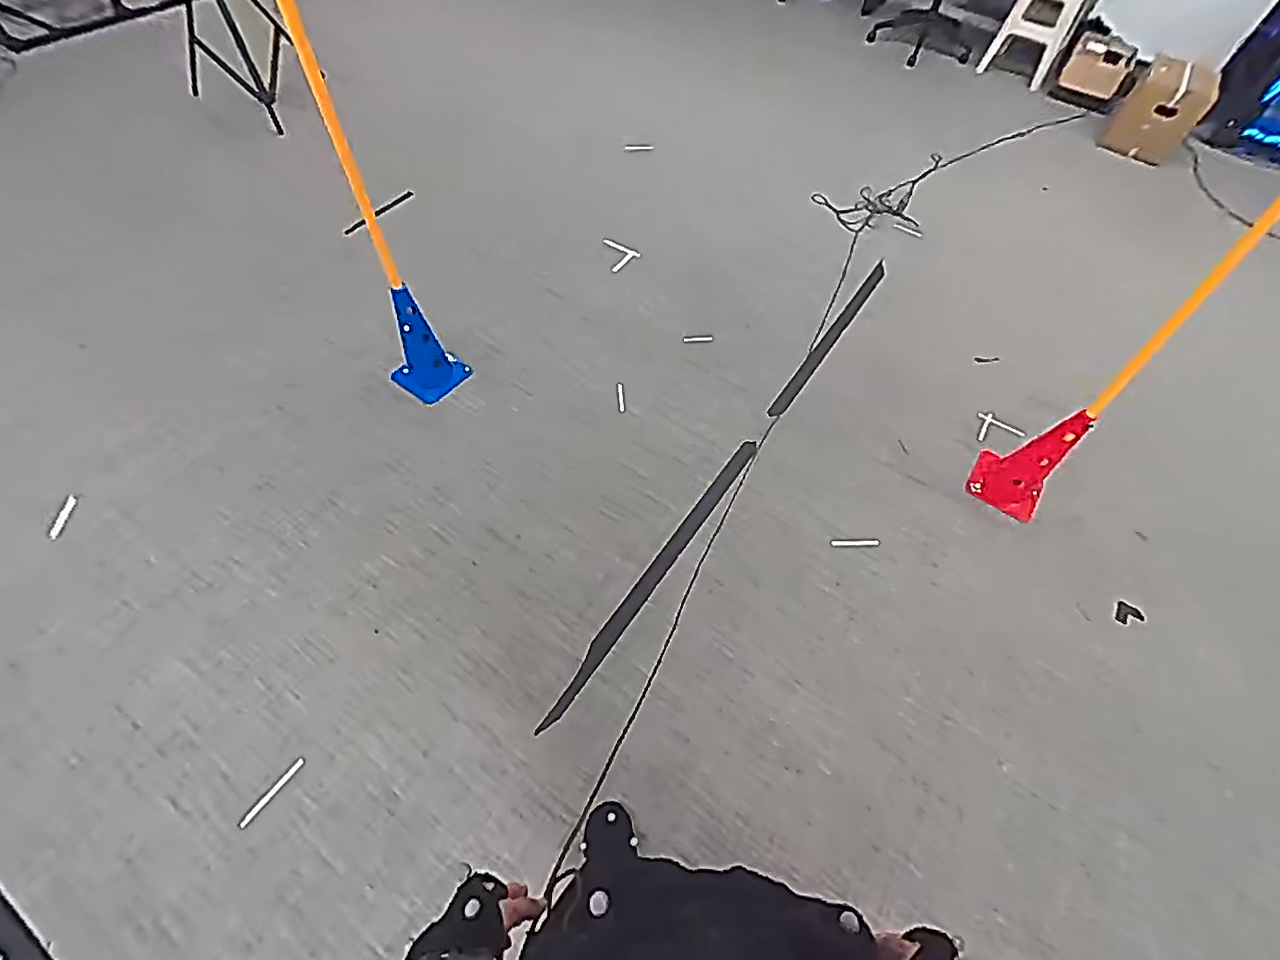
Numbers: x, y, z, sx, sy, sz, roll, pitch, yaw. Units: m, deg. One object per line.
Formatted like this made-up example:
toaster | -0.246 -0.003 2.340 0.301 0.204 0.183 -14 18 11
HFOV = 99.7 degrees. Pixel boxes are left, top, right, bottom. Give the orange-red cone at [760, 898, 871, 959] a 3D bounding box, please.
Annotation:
orange-red cone | 0.340 0.869 0.890 0.198 0.360 0.199 35 63 17

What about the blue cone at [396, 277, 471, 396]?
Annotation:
blue cone | -0.683 -0.455 1.671 0.193 0.380 0.192 35 62 17
